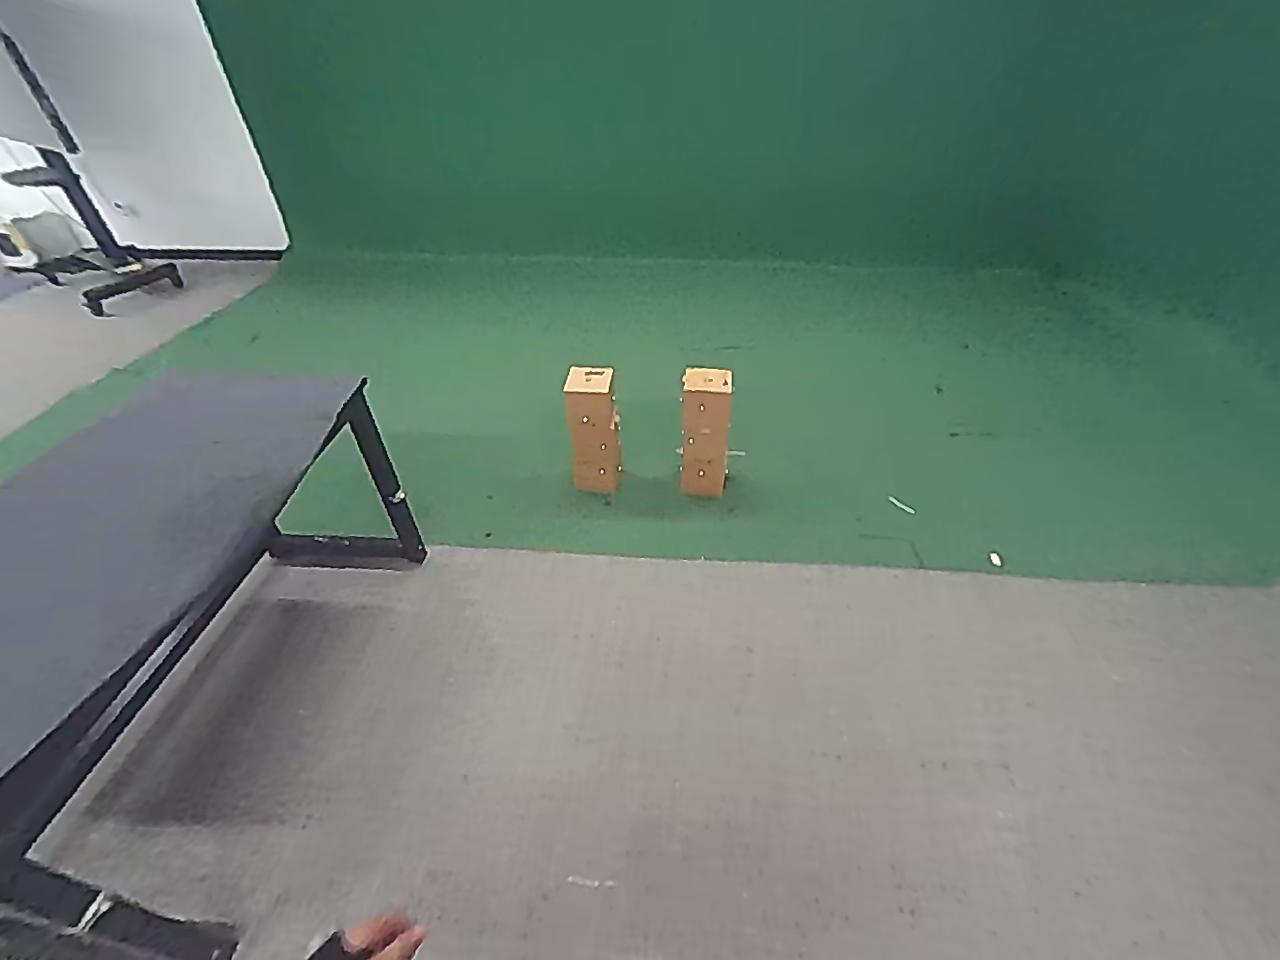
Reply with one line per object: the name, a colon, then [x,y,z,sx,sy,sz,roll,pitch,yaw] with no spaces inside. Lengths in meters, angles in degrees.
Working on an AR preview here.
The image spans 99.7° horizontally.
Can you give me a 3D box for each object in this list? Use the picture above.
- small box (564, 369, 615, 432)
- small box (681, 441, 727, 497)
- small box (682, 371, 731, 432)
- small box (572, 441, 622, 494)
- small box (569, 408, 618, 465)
small box: [-0.188,-0.302,2.055,0.168,0.176,0.179,3,41,4]
small box: [0.266,-0.043,2.252,0.179,0.176,0.168,5,41,7]
small box: [0.251,-0.296,2.043,0.179,0.176,0.168,3,40,6]
small box: [-0.176,-0.056,2.270,0.179,0.176,0.168,6,40,8]
small box: [-0.180,-0.173,2.157,0.179,0.176,0.168,0,40,2]
